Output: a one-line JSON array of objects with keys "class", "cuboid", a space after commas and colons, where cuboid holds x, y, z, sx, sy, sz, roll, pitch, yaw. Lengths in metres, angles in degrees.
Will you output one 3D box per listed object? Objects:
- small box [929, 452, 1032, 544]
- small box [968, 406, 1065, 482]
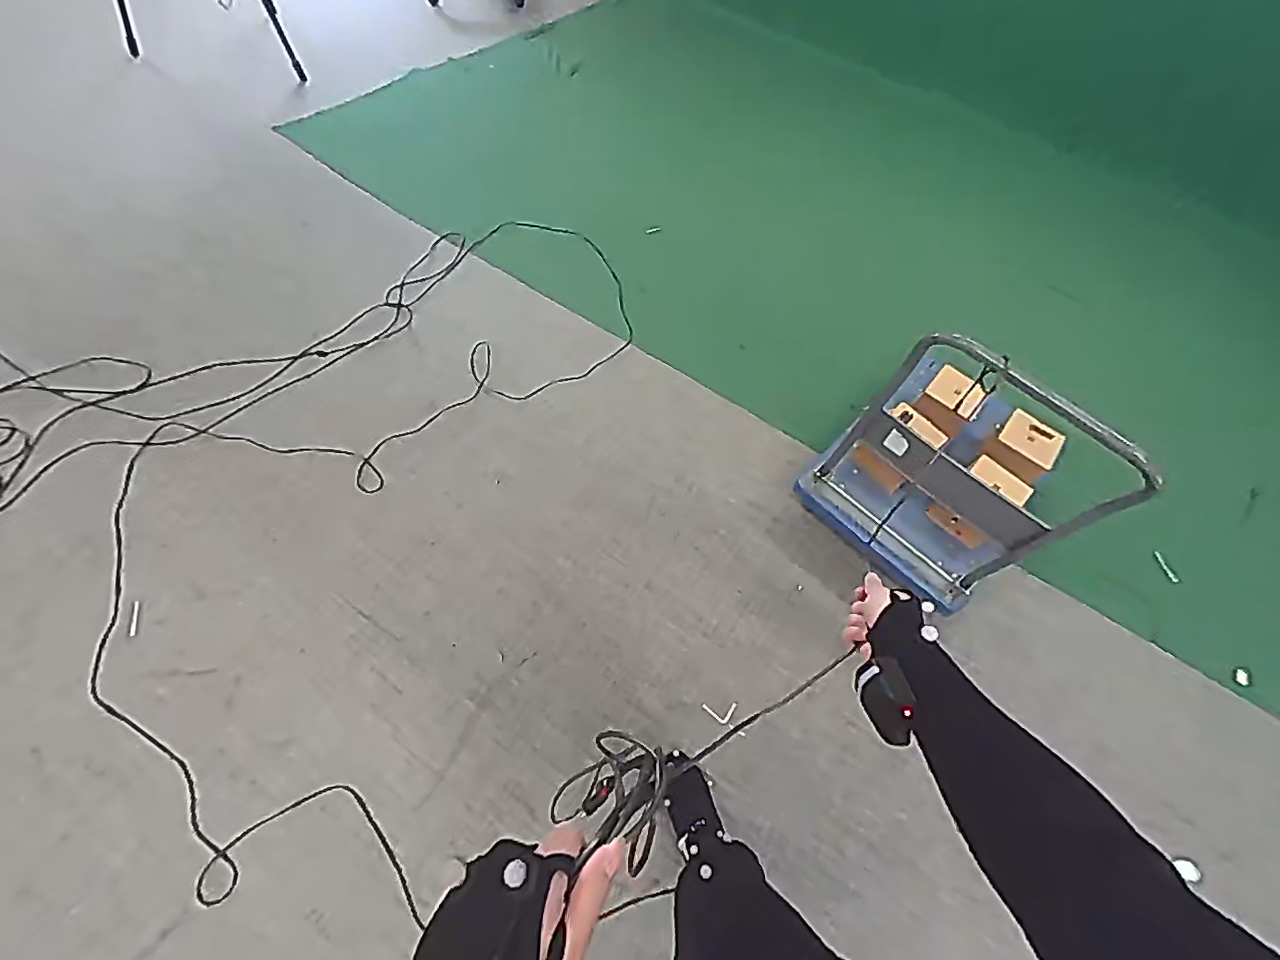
[{"class": "small box", "cuboid": [1.002, 0.057, 1.606, 0.179, 0.176, 0.168, -38, 71, -25]}, {"class": "small box", "cuboid": [1.192, -0.096, 1.722, 0.168, 0.176, 0.179, 39, 63, 16]}]
